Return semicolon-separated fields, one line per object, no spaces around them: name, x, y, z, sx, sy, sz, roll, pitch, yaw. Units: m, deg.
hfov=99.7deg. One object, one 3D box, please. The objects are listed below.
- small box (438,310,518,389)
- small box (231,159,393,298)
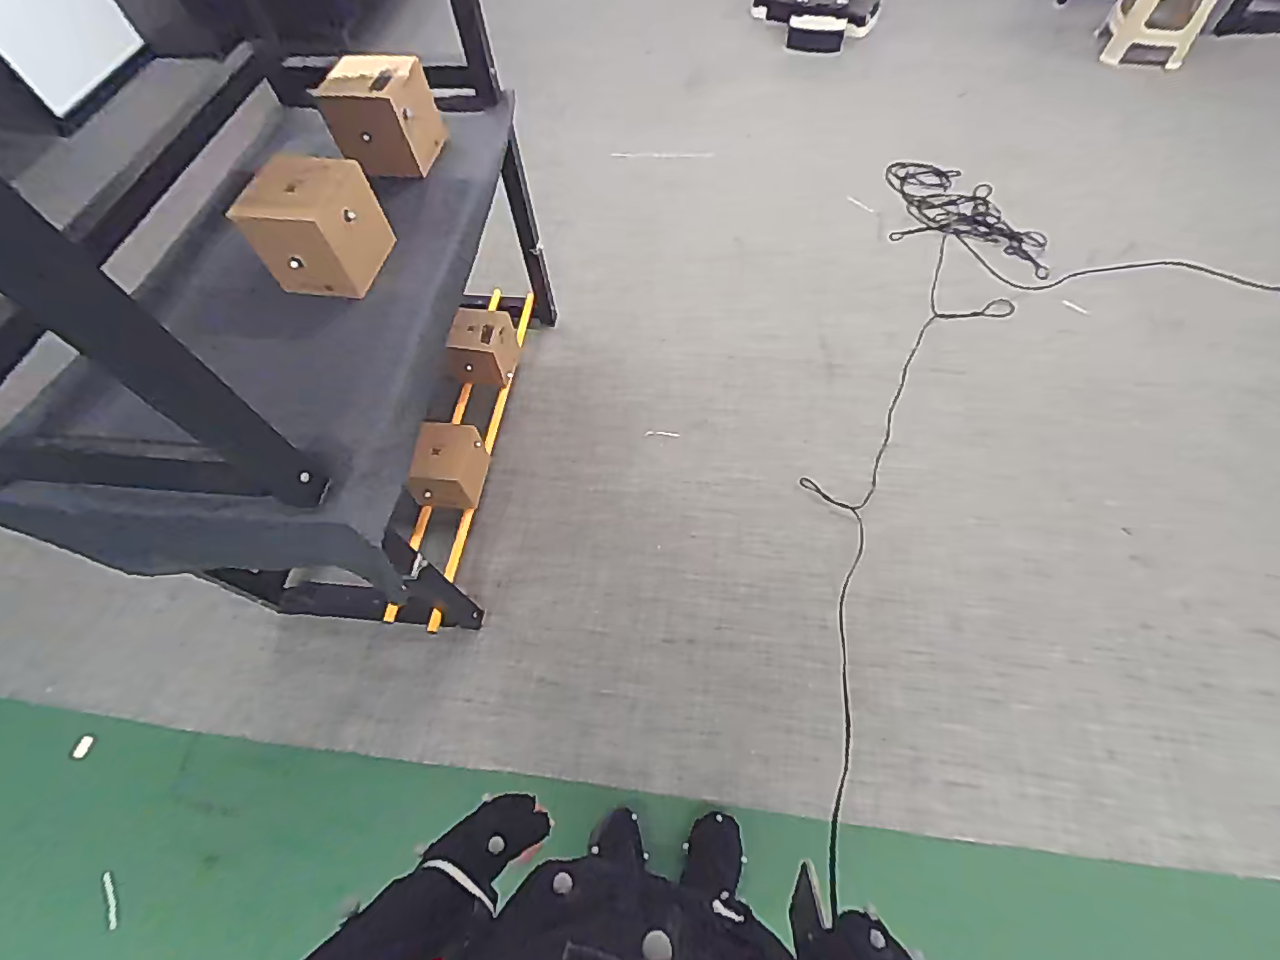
small box;-0.497;-0.403;1.689;0.179;0.176;0.168;7;61;6
small box;-0.595;-0.465;1.012;0.168;0.176;0.179;7;61;6
